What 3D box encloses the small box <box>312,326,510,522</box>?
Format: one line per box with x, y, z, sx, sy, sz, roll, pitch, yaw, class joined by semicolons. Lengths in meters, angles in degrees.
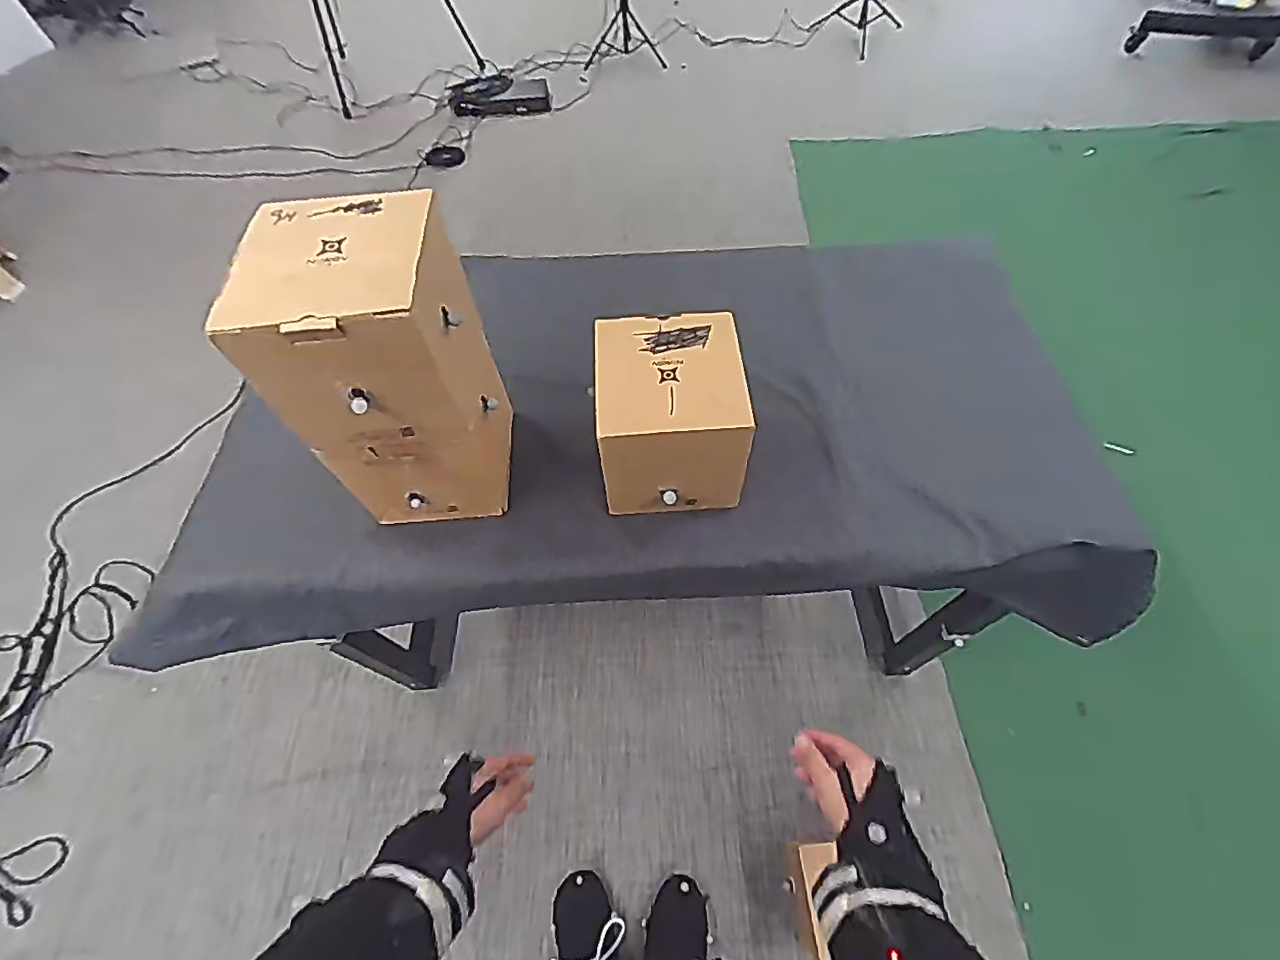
-0.264;-0.066;0.672;0.168;0.176;0.179;-5;58;-1;small box

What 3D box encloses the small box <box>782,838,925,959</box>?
0.375;0.757;0.984;0.179;0.176;0.168;-6;57;0;small box

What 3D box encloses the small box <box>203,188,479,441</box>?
-0.265;-0.151;0.532;0.168;0.176;0.179;-6;59;-1;small box

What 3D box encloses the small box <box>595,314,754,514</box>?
0.035;-0.077;0.661;0.168;0.176;0.179;-4;58;1;small box
